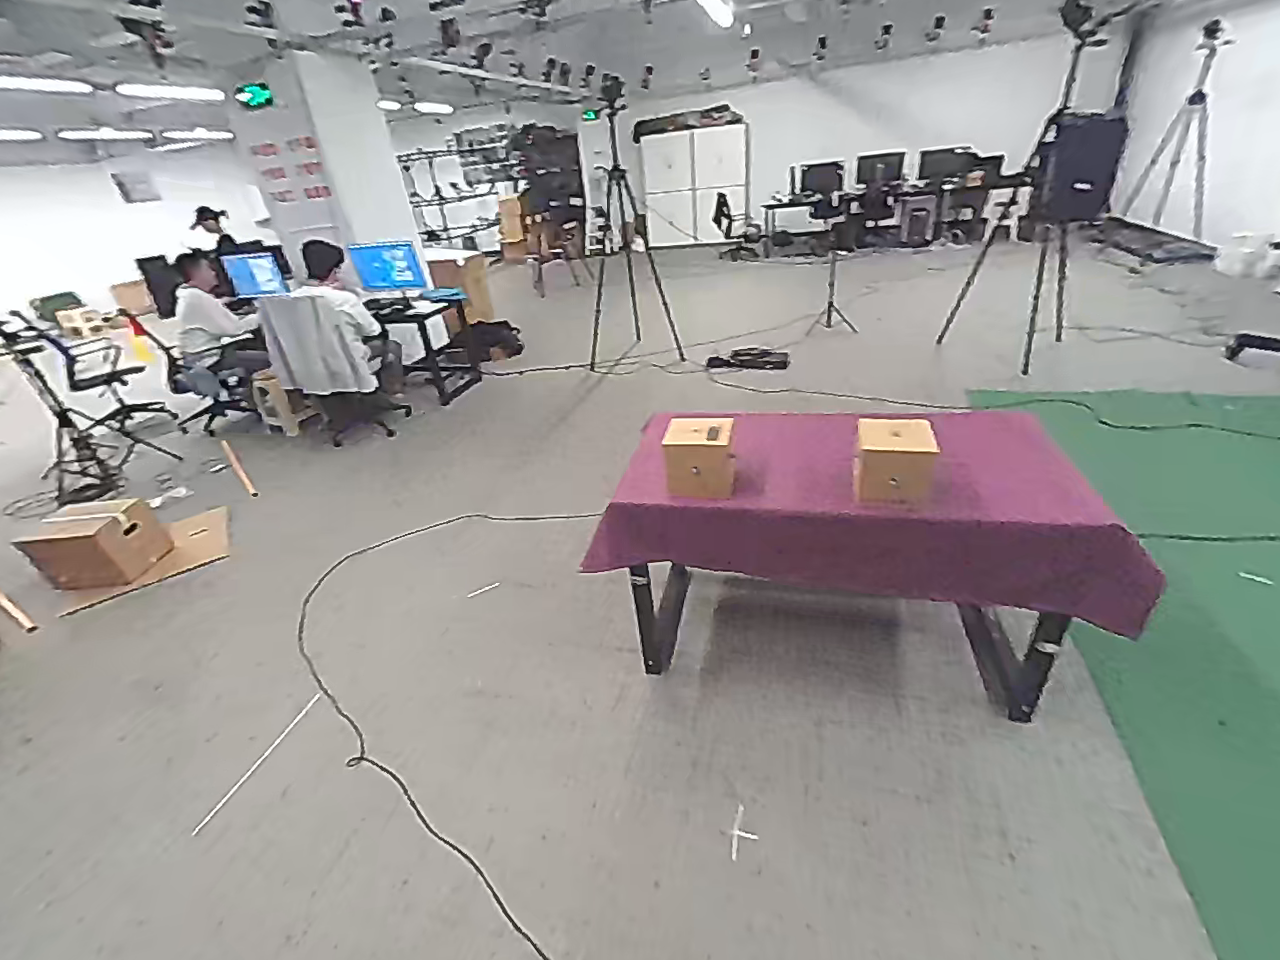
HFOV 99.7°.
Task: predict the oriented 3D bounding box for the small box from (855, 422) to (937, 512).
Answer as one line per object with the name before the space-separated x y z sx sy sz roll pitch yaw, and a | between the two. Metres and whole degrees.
small box | 0.646 -0.035 1.381 0.168 0.176 0.179 4 32 17
